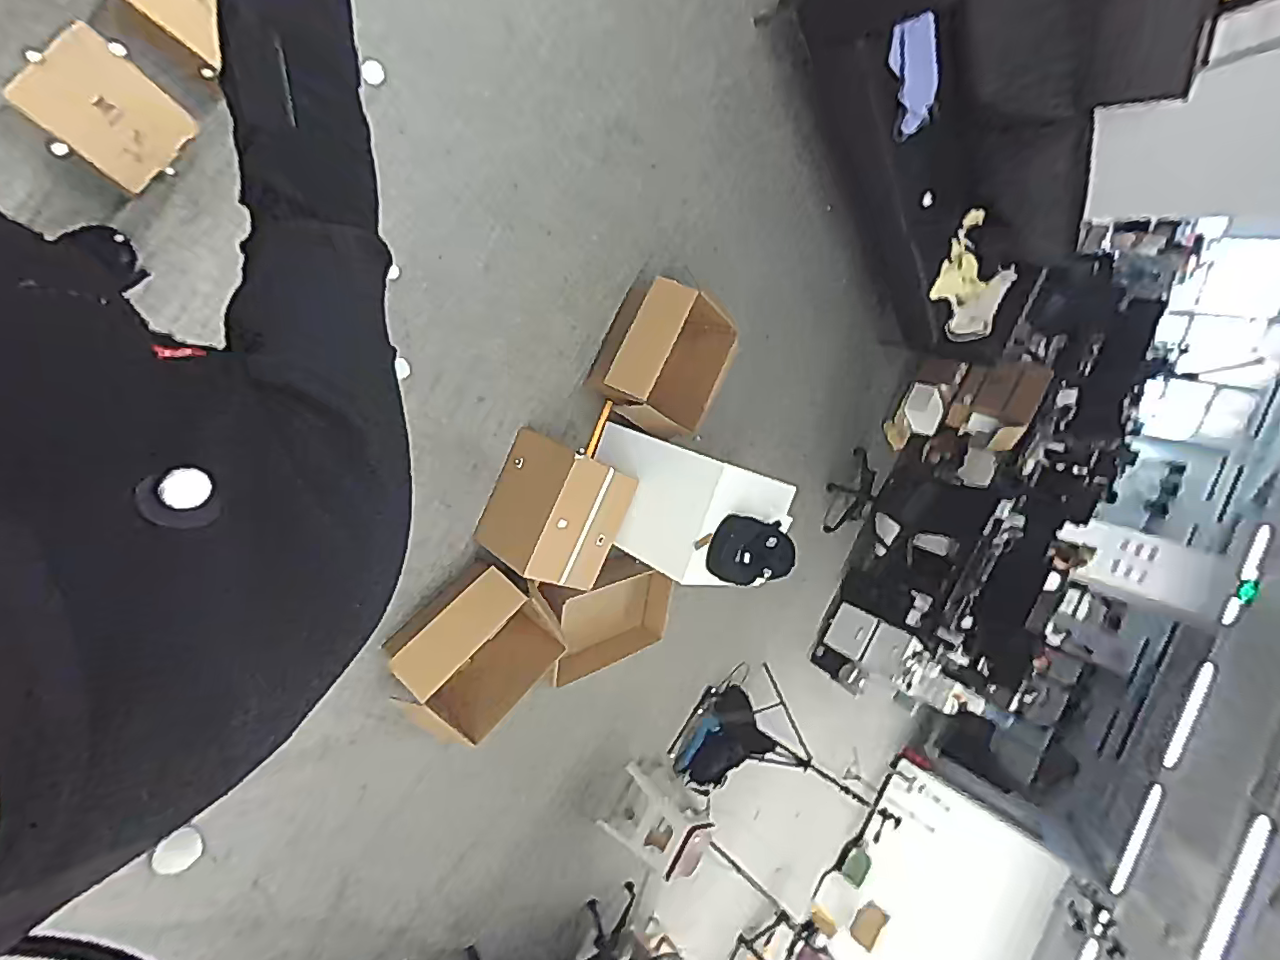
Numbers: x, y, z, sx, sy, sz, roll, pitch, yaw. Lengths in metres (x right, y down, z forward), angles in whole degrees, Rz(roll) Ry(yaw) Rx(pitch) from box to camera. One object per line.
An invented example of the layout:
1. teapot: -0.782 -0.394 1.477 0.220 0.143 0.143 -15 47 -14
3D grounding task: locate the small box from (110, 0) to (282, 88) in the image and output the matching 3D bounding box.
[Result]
1. small box: -0.776 -0.829 0.943 0.179 0.176 0.168 28 87 -50

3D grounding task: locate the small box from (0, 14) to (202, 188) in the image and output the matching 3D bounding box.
1. small box: -0.898 -0.619 0.910 0.168 0.176 0.179 -57 139 -10
